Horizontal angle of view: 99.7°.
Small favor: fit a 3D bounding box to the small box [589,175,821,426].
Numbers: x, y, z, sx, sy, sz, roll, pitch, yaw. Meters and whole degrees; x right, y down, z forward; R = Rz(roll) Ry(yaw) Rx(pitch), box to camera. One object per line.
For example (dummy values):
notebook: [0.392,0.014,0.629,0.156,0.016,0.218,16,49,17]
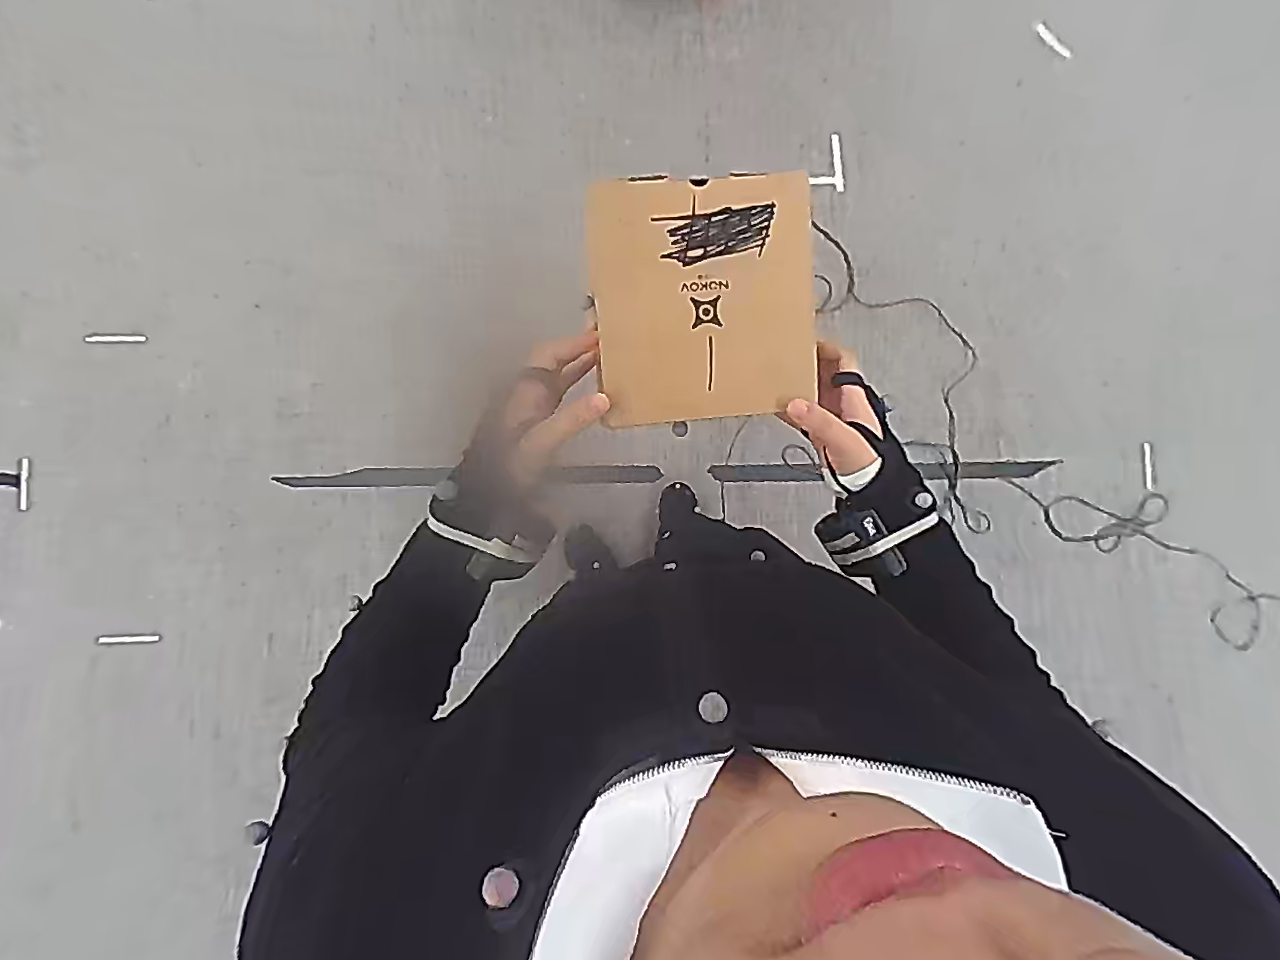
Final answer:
small box: [0.044,-0.140,0.476,0.168,0.176,0.179,-5,97,-5]
